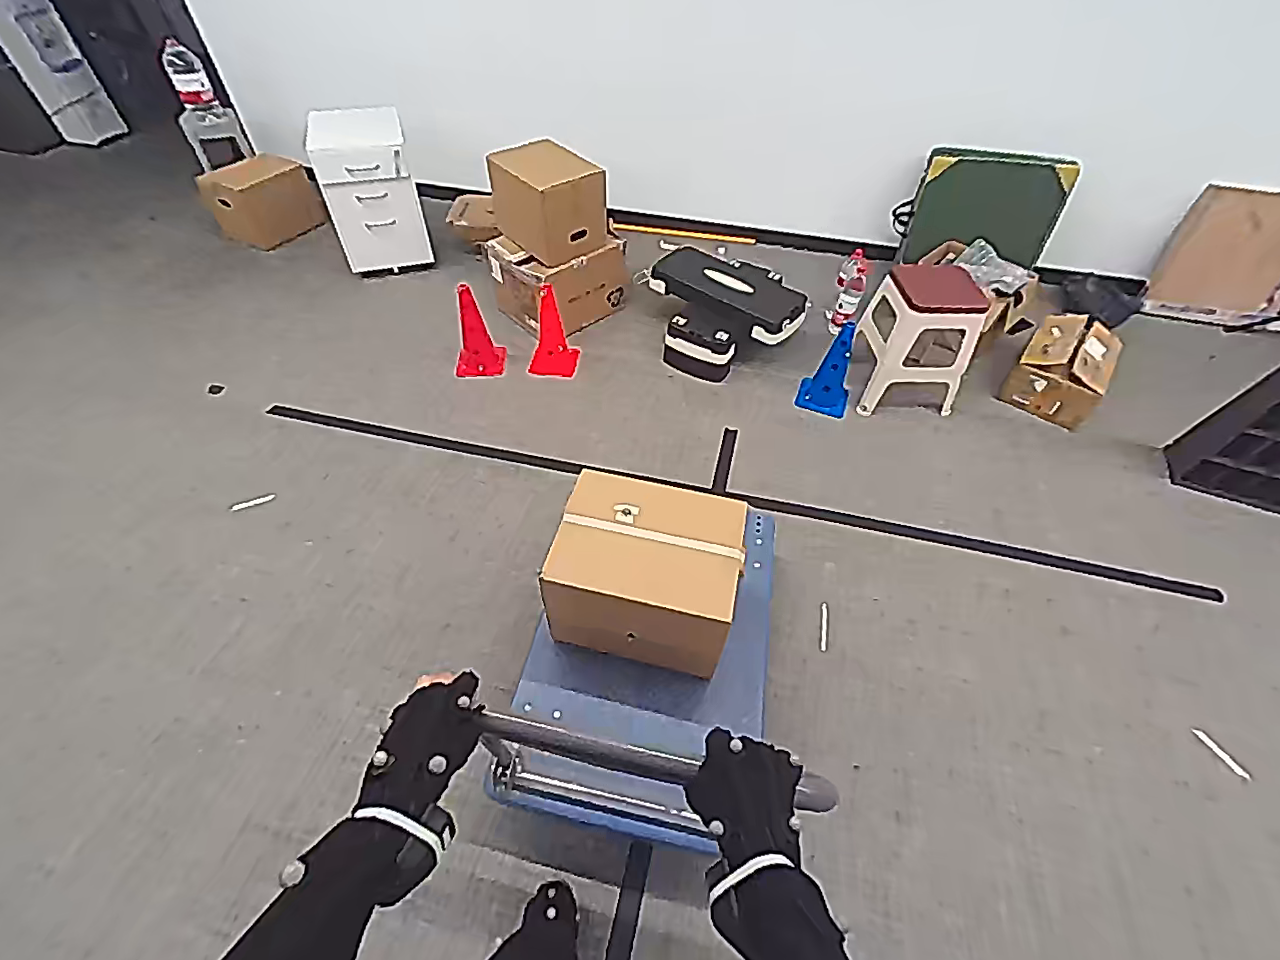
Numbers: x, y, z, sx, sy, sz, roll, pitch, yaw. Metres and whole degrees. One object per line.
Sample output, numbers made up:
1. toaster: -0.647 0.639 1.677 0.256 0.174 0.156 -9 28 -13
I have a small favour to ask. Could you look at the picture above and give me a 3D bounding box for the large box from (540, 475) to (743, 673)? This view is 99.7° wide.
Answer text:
1. large box: 0.015 0.231 1.313 0.408 0.320 0.320 12 51 8
